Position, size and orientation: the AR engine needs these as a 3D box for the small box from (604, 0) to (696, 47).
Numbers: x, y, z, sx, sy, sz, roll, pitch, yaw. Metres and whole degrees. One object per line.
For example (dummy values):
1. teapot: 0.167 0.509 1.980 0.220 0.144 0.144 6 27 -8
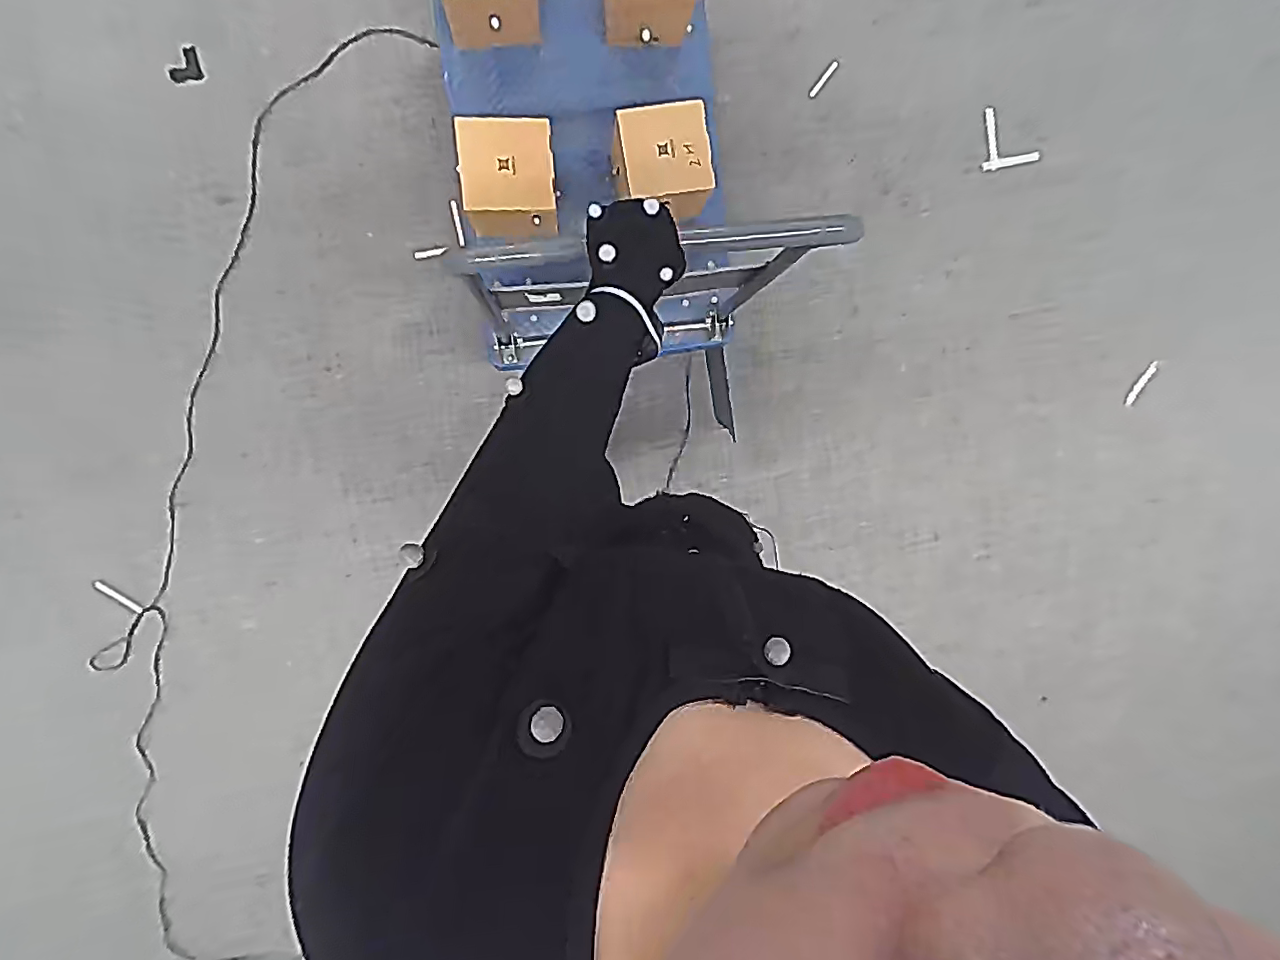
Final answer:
1. small box: 0.014 -1.014 1.077 0.168 0.176 0.179 -6 99 -7

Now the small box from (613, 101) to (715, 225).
1. small box: 0.042 -0.652 1.131 0.179 0.176 0.168 -11 99 -6

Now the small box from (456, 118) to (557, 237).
1. small box: -0.261 -0.602 1.095 0.179 0.176 0.168 -5 98 -9
